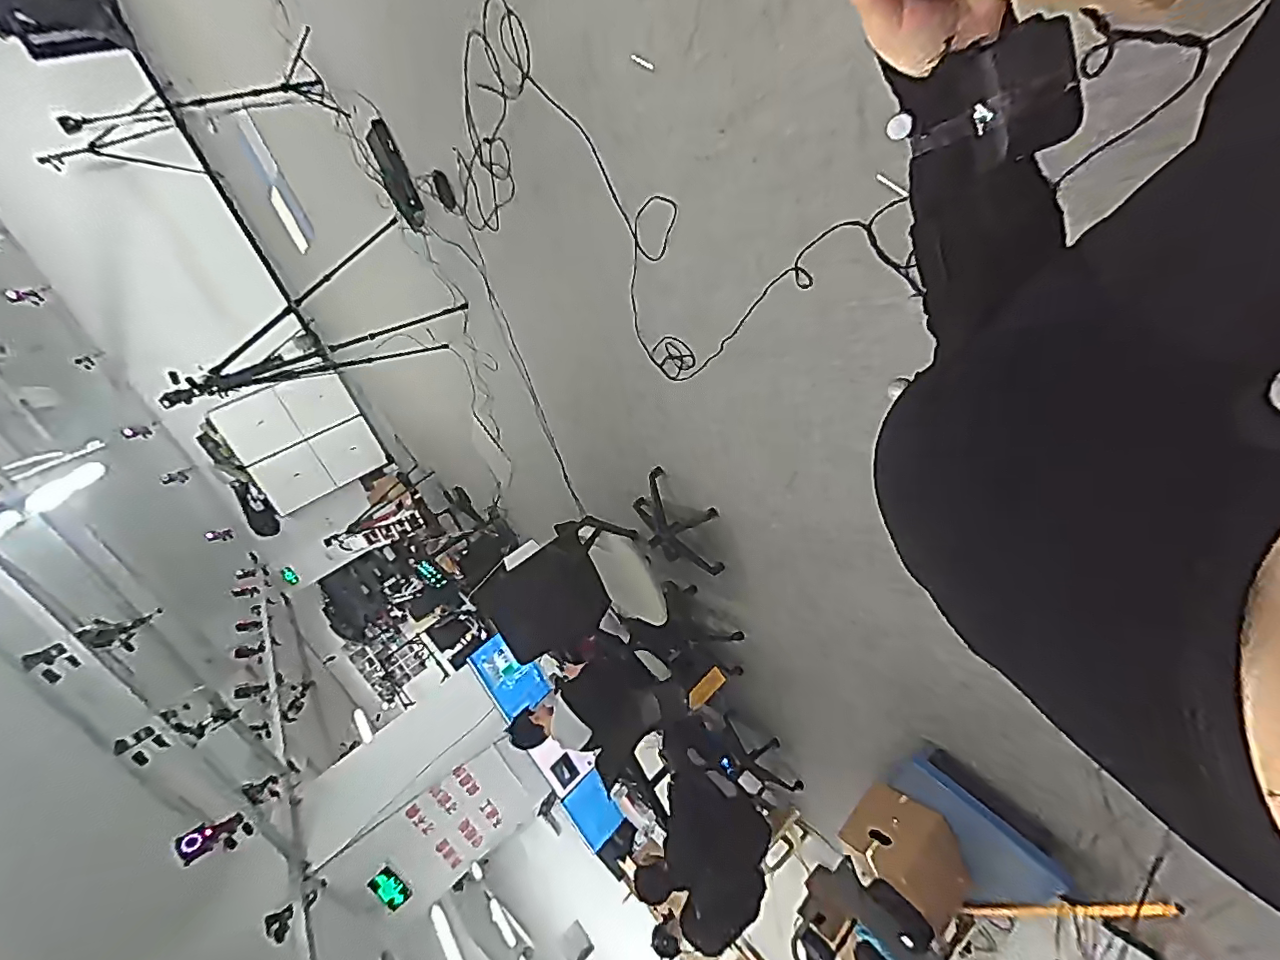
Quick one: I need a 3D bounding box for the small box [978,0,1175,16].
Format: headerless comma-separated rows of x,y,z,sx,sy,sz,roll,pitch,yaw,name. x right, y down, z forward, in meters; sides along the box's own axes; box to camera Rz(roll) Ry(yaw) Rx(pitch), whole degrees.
0.119,-0.274,0.171,0.179,0.176,0.168,53,144,38,small box
